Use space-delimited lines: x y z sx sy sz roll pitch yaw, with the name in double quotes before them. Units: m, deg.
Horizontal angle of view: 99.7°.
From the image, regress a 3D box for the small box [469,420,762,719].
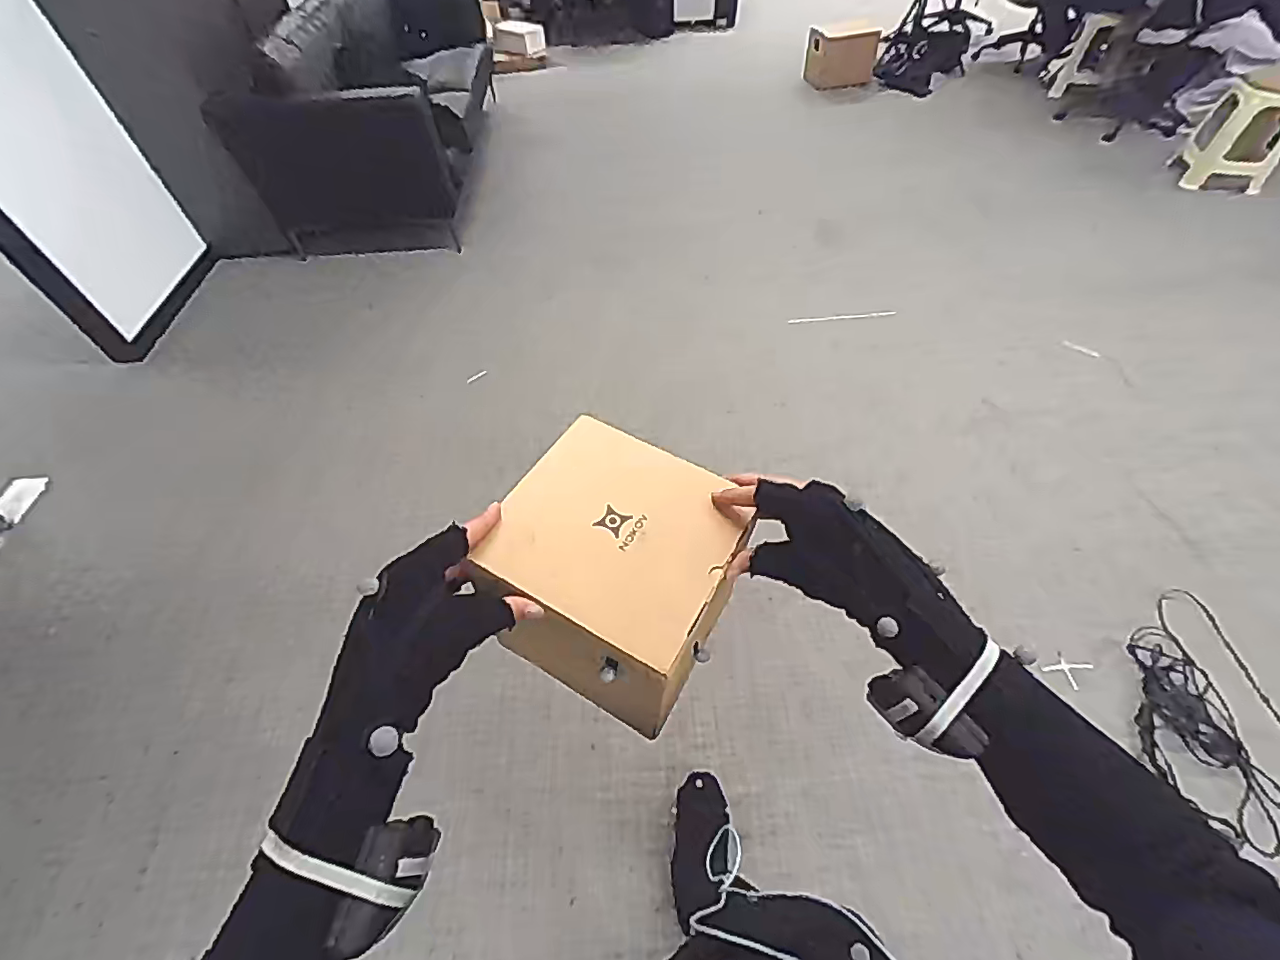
"small box" -0.019 0.084 0.483 0.179 0.176 0.168 26 55 16
